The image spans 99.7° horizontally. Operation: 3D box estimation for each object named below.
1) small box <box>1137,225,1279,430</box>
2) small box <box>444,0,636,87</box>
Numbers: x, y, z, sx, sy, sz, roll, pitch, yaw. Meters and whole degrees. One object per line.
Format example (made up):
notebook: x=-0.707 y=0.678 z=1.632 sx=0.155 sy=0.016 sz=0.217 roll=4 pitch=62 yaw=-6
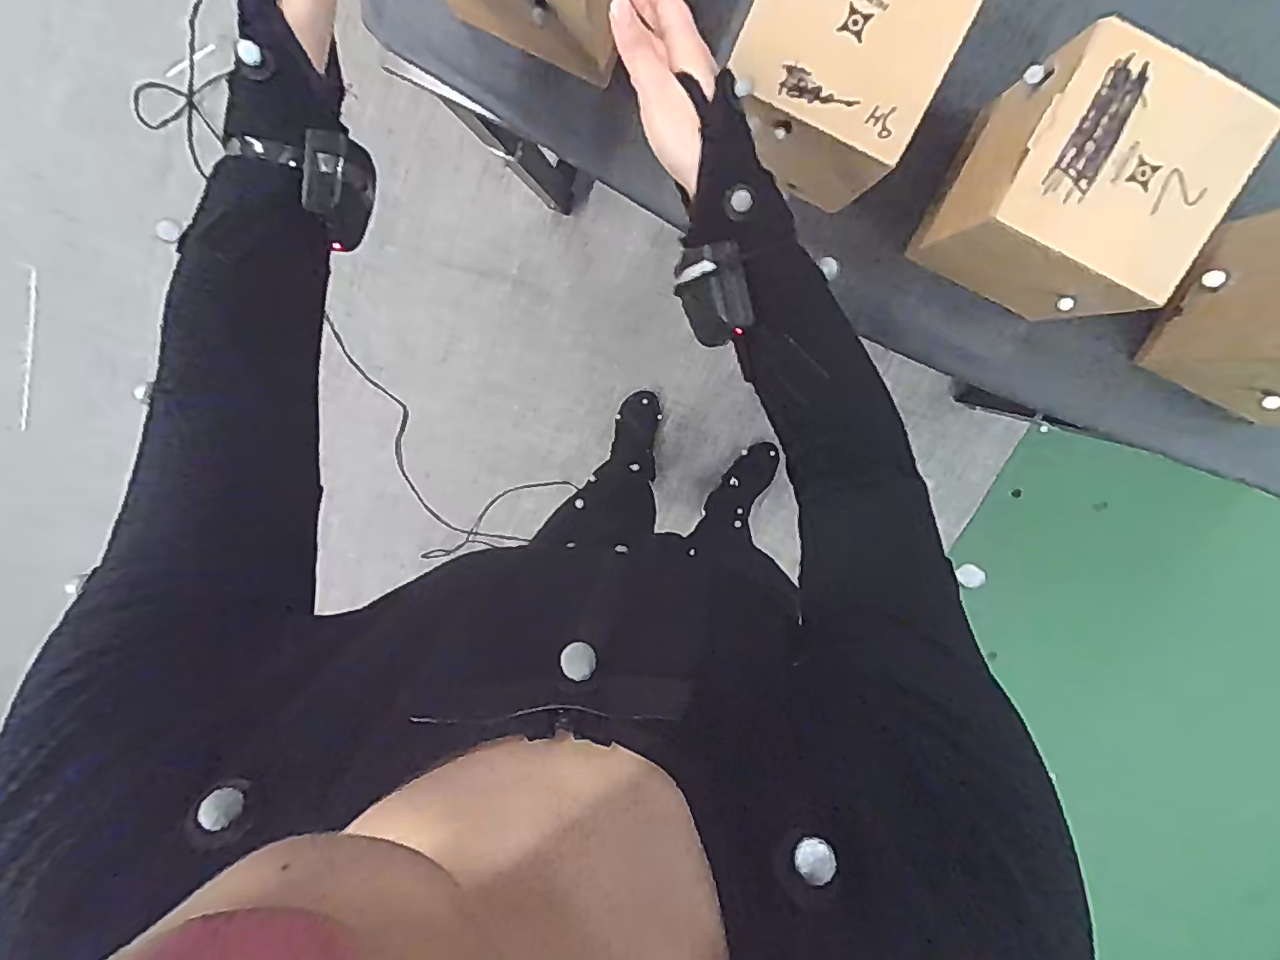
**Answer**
small box: x=0.674 y=-0.148 z=0.532 sx=0.179 sy=0.176 sz=0.168 roll=25 pitch=101 yaw=-1
small box: x=-0.088 y=-0.507 z=0.496 sx=0.179 sy=0.176 sz=0.168 roll=24 pitch=104 yaw=-3
